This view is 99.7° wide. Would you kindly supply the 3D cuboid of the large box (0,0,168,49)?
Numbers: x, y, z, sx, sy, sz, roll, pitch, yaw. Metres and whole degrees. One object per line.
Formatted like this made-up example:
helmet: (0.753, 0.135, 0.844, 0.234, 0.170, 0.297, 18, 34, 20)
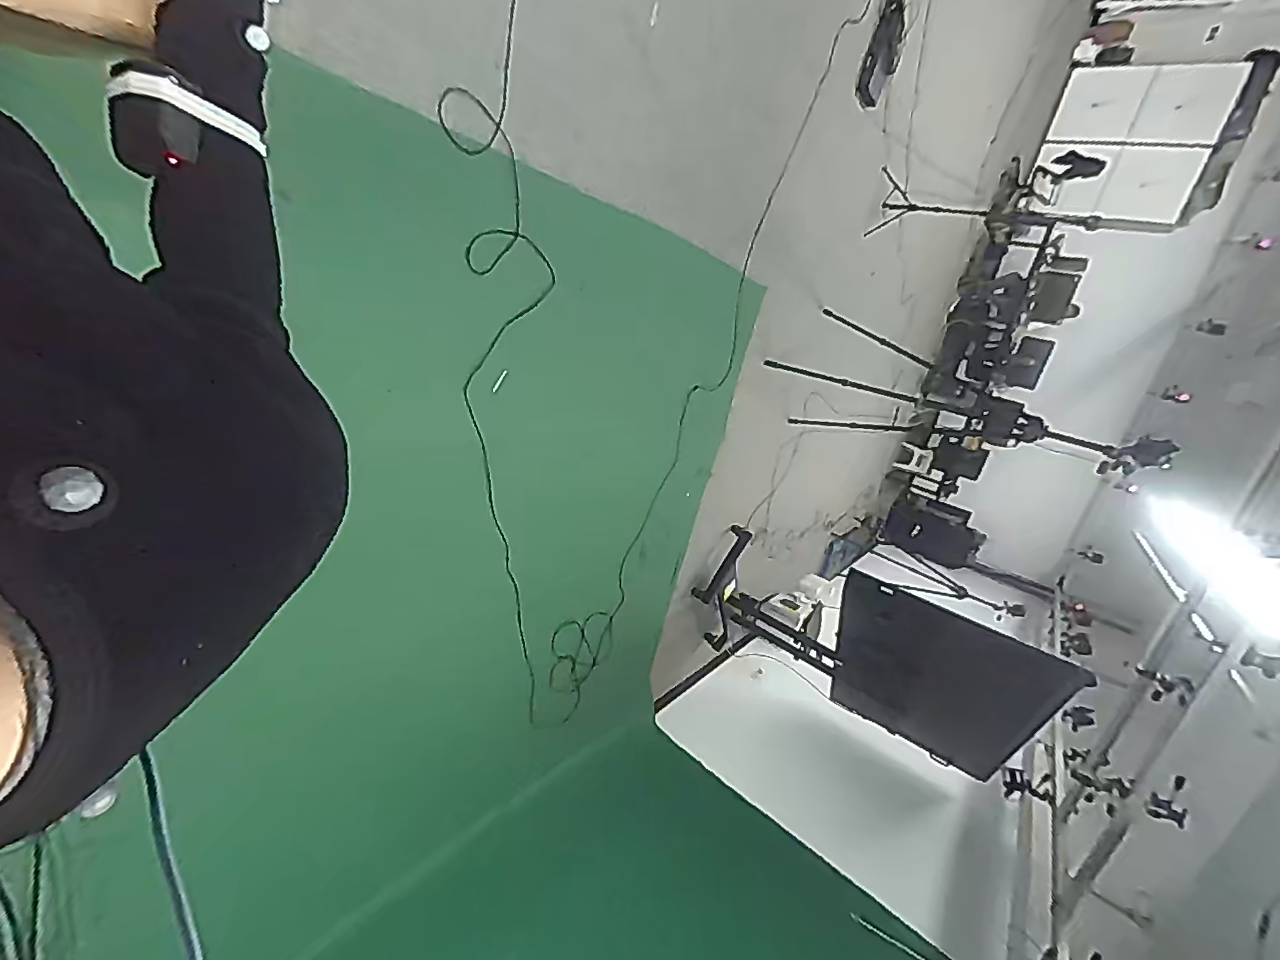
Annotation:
large box: (-0.570, -0.487, 0.278, 0.408, 0.320, 0.320, -21, 130, -54)
